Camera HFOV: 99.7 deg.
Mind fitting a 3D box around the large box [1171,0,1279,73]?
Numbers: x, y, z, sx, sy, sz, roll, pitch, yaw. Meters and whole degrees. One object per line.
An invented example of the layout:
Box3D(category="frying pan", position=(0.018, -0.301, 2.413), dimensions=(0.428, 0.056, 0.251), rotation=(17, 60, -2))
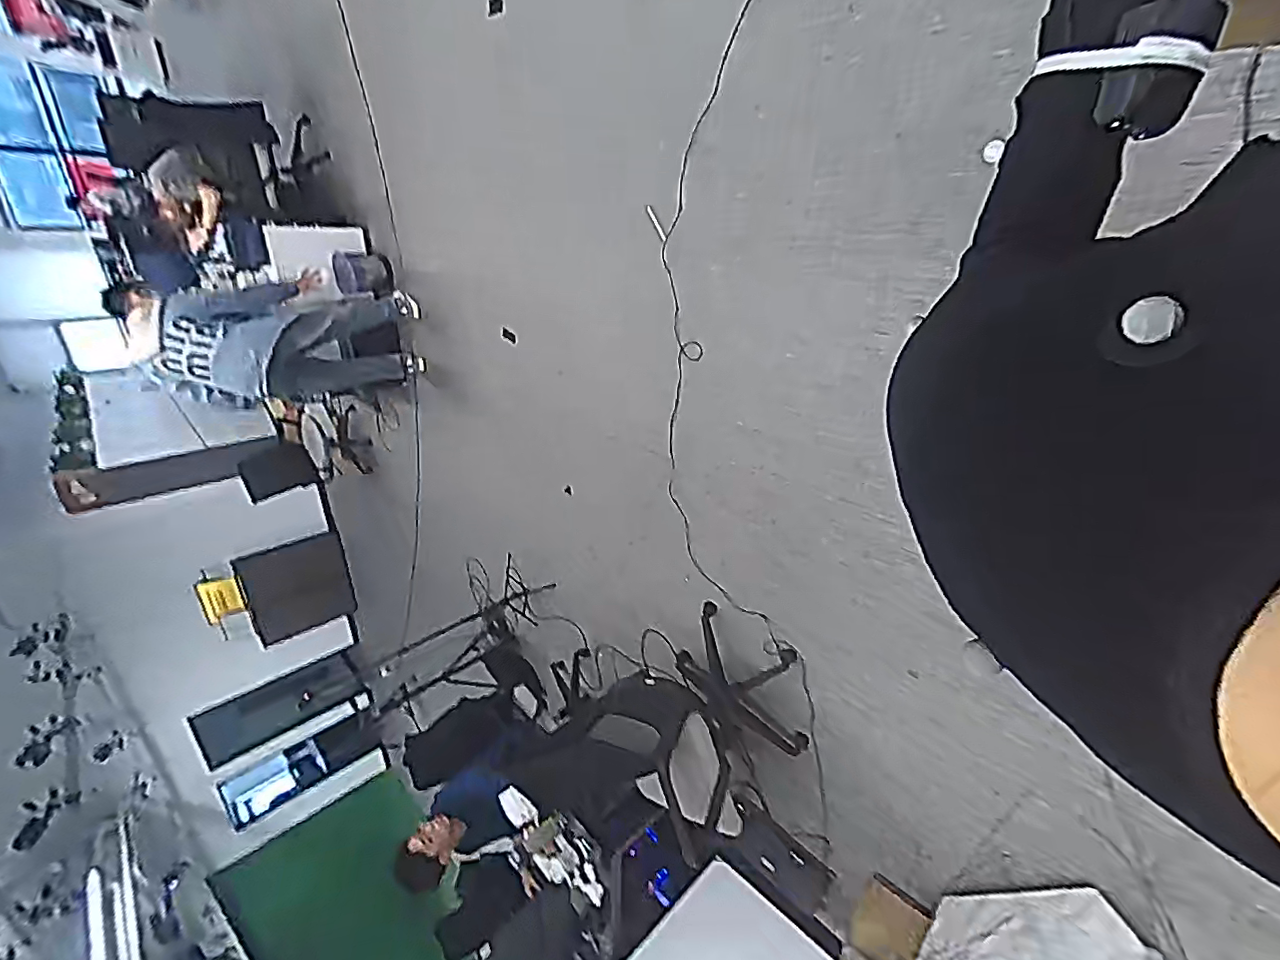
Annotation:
Box3D(category="large box", position=(0.560, -0.419, 0.235), dimensions=(0.408, 0.320, 0.320), rotation=(22, 127, 38))
